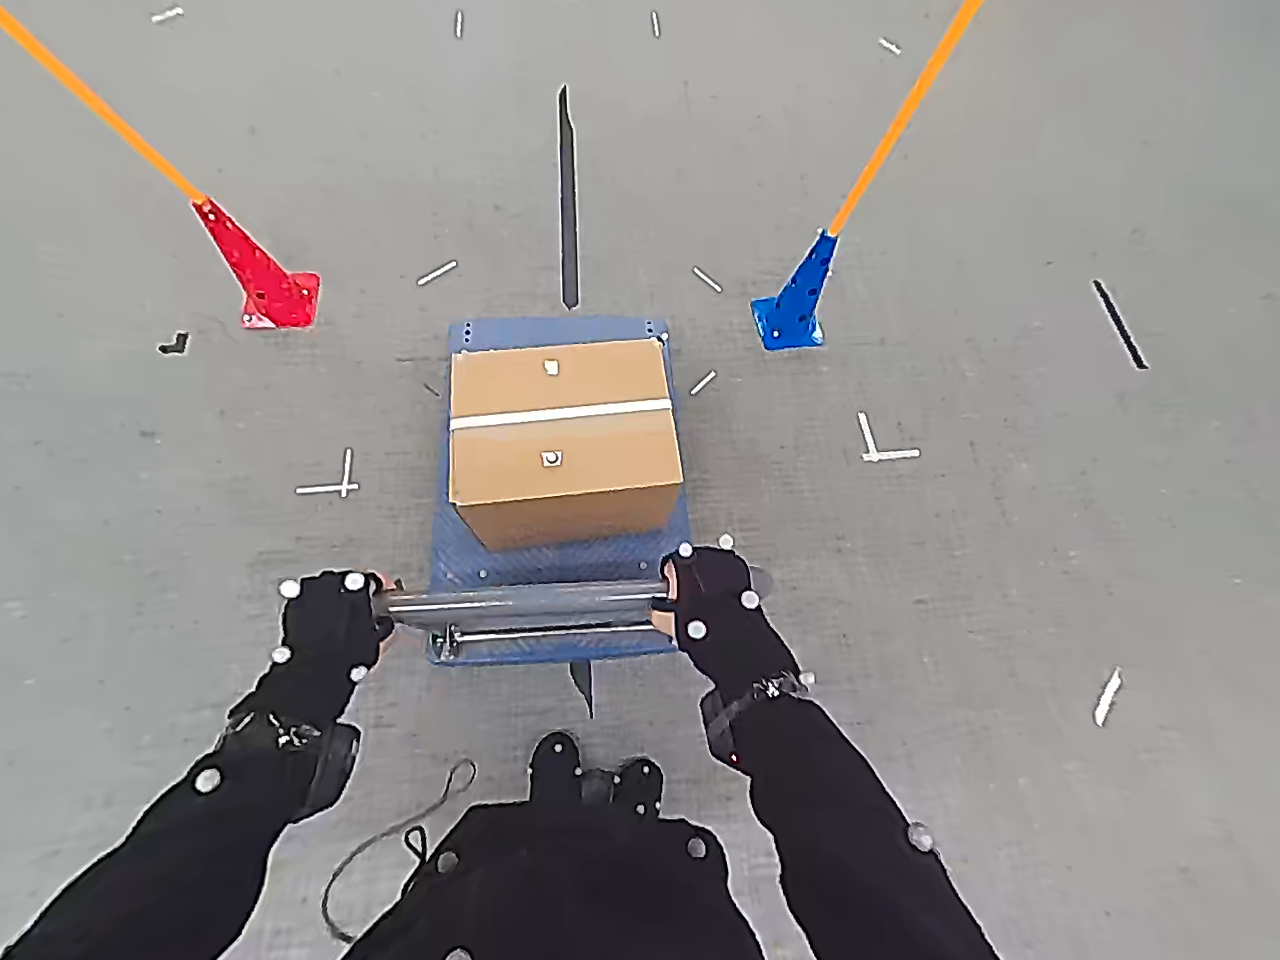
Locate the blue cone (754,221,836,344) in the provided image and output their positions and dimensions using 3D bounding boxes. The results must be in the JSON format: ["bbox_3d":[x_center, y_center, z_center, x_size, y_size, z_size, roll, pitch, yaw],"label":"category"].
[{"bbox_3d":[0.481,-0.577,1.567,0.193,0.380,0.192,-6,68,-7],"label":"blue cone"}]
